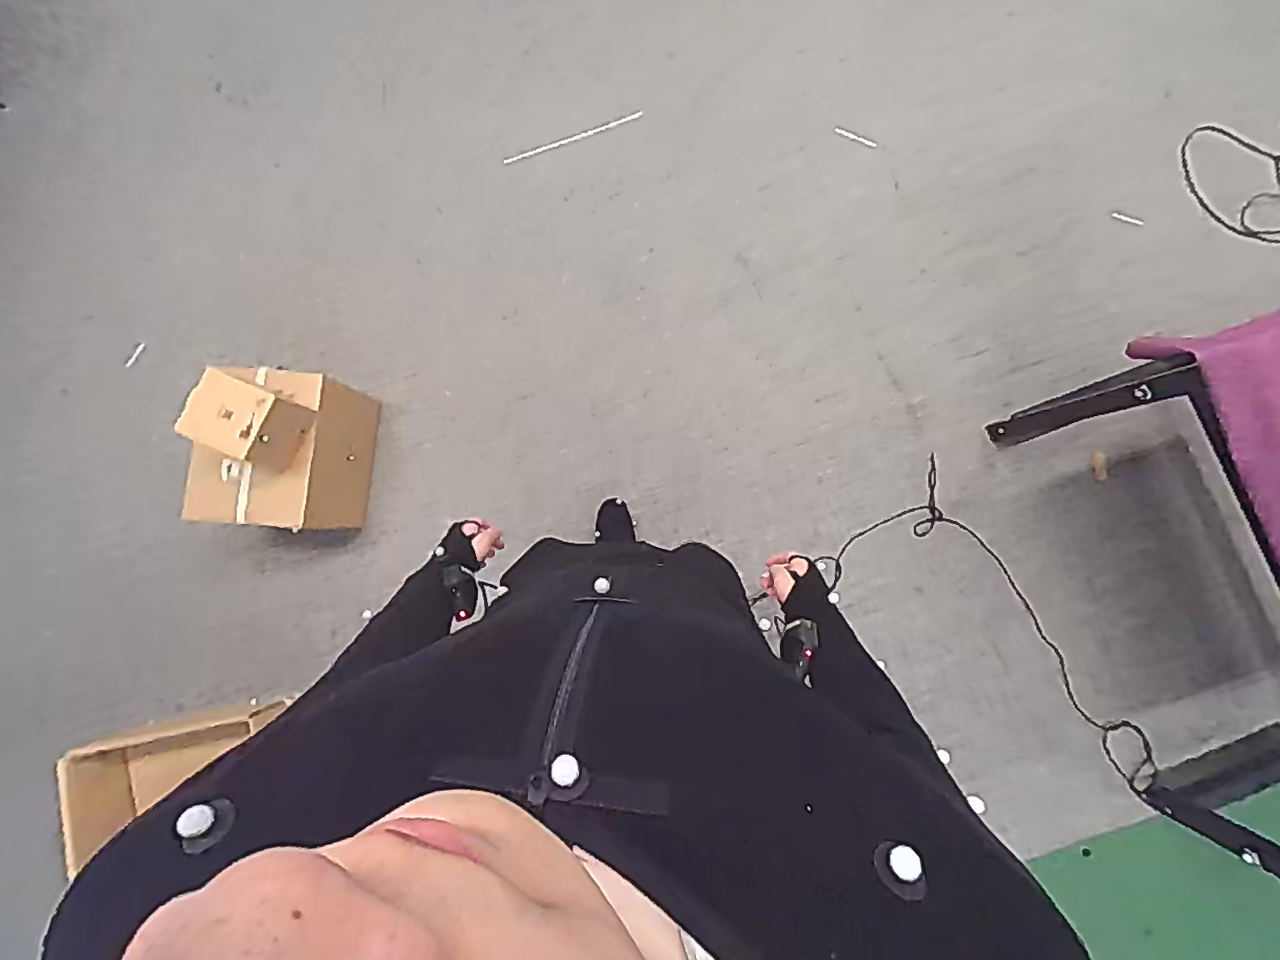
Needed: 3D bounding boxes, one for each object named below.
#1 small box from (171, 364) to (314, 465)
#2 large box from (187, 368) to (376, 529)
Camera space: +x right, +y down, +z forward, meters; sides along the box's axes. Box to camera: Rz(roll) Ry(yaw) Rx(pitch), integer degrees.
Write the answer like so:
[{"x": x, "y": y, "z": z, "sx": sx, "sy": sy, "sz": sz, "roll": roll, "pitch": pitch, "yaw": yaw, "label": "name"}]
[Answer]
[{"x": -0.928, "y": -0.145, "z": 1.279, "sx": 0.179, "sy": 0.176, "sz": 0.168, "roll": 24, "pitch": 86, "yaw": 1, "label": "small box"}, {"x": -0.979, "y": -0.075, "z": 1.520, "sx": 0.320, "sy": 0.320, "sz": 0.408, "roll": 4, "pitch": 86, "yaw": 1, "label": "large box"}]
